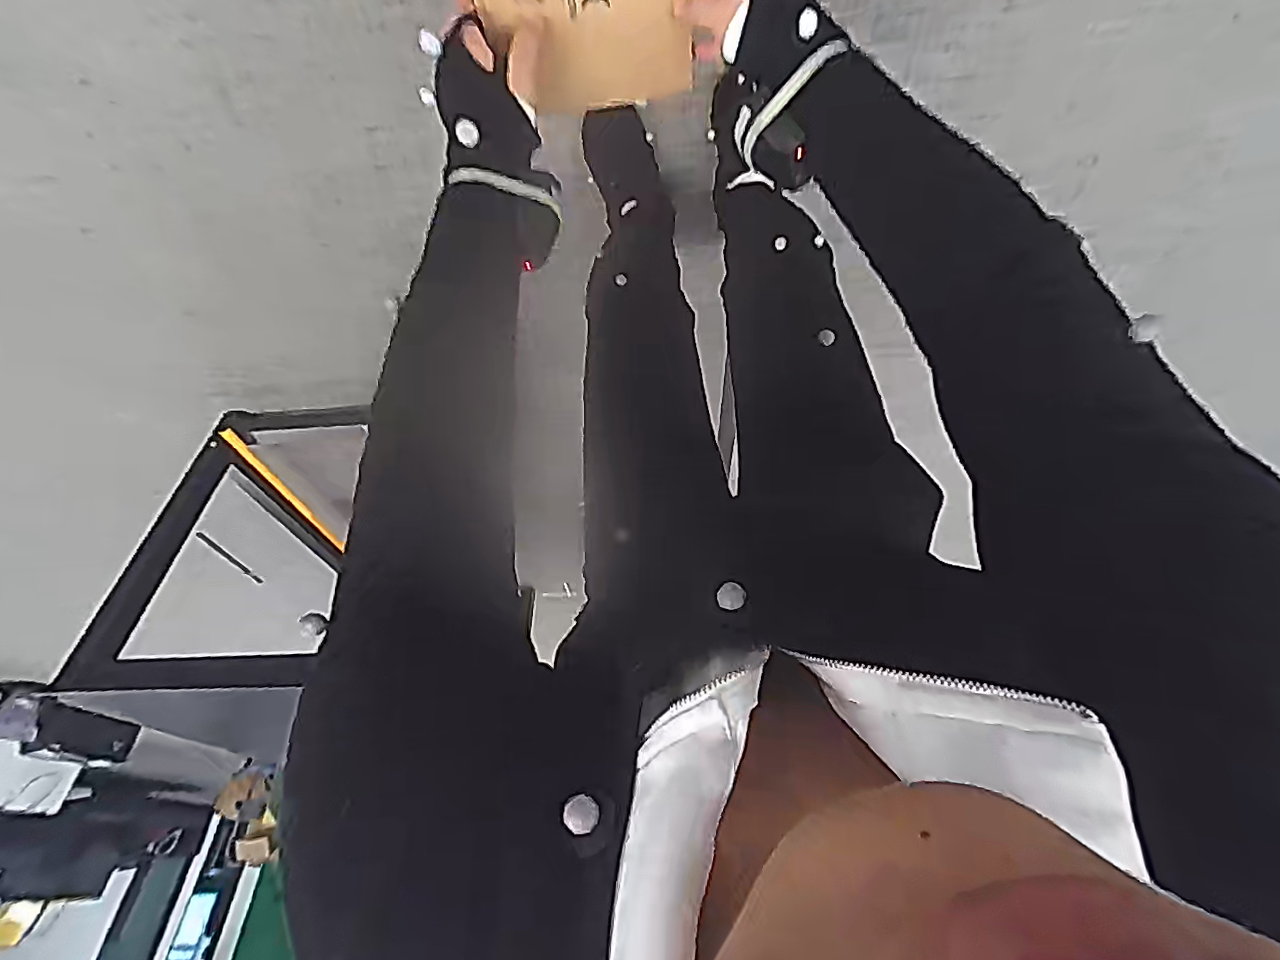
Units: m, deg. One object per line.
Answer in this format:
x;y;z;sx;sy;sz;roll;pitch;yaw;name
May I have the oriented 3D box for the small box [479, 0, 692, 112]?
-0.054;-0.463;0.483;0.179;0.176;0.168;-8;143;0;small box
